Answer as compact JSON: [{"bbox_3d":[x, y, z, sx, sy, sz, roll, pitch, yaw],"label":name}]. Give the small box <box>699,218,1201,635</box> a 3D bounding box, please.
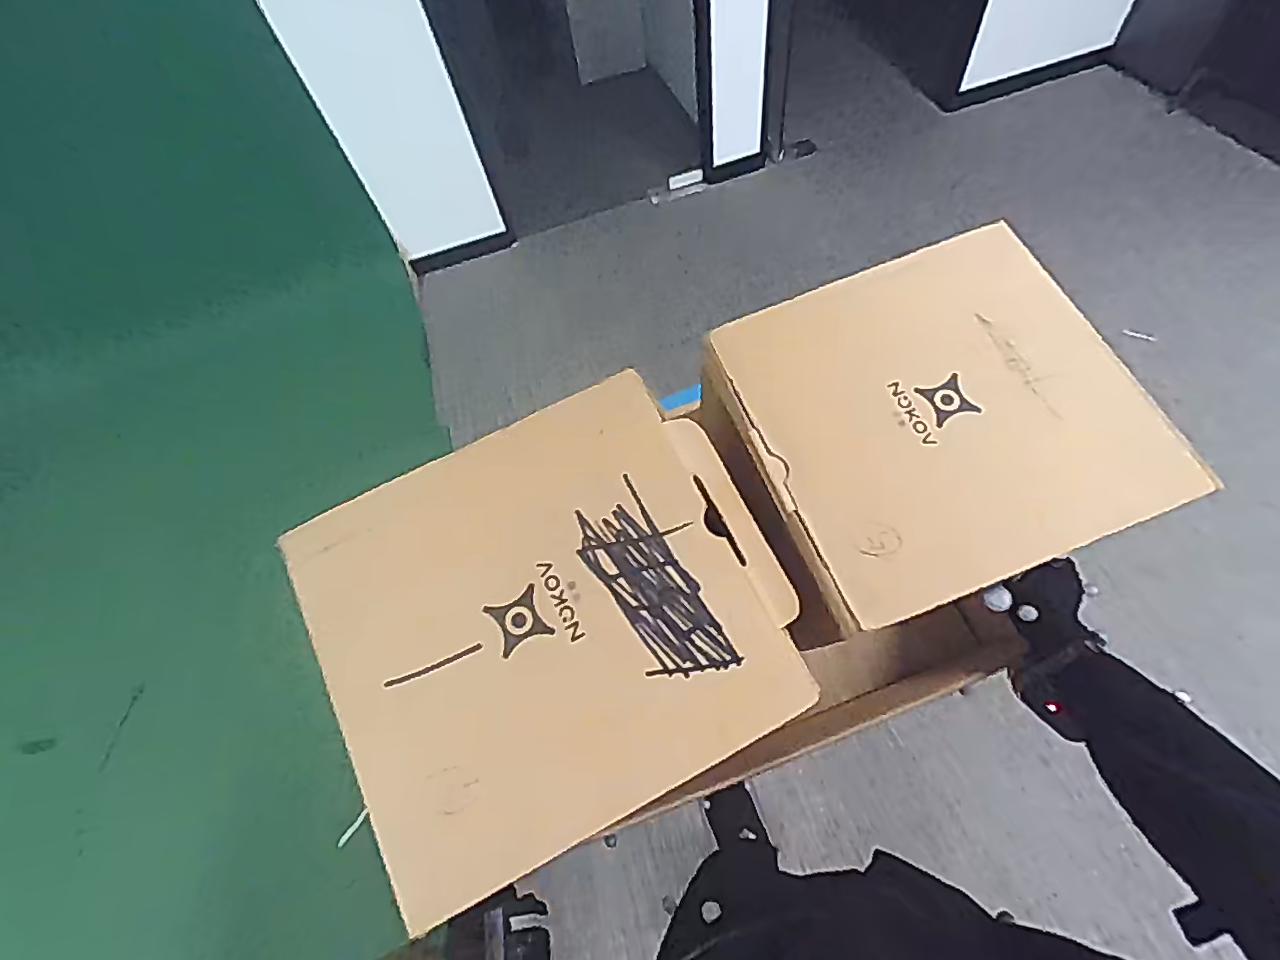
[{"bbox_3d":[0.147,-0.015,0.336,0.179,0.176,0.168,-21,69,-3],"label":"small box"}]
